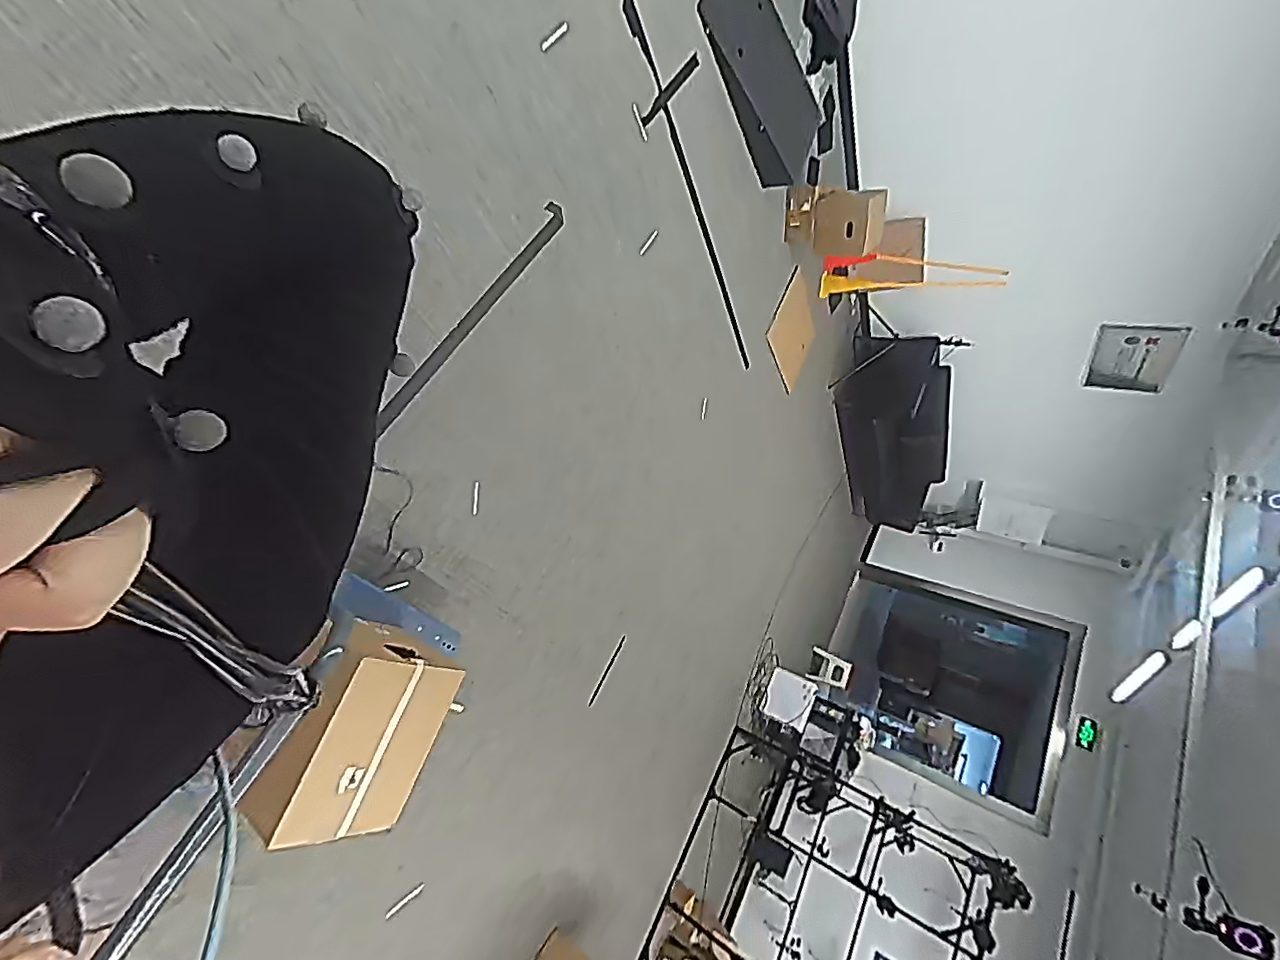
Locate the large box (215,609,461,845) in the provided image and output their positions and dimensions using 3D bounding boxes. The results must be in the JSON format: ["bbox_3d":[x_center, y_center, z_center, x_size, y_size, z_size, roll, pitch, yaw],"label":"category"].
[{"bbox_3d":[-0.724,0.574,1.323,0.320,0.320,0.408,39,71,-53],"label":"large box"}]
